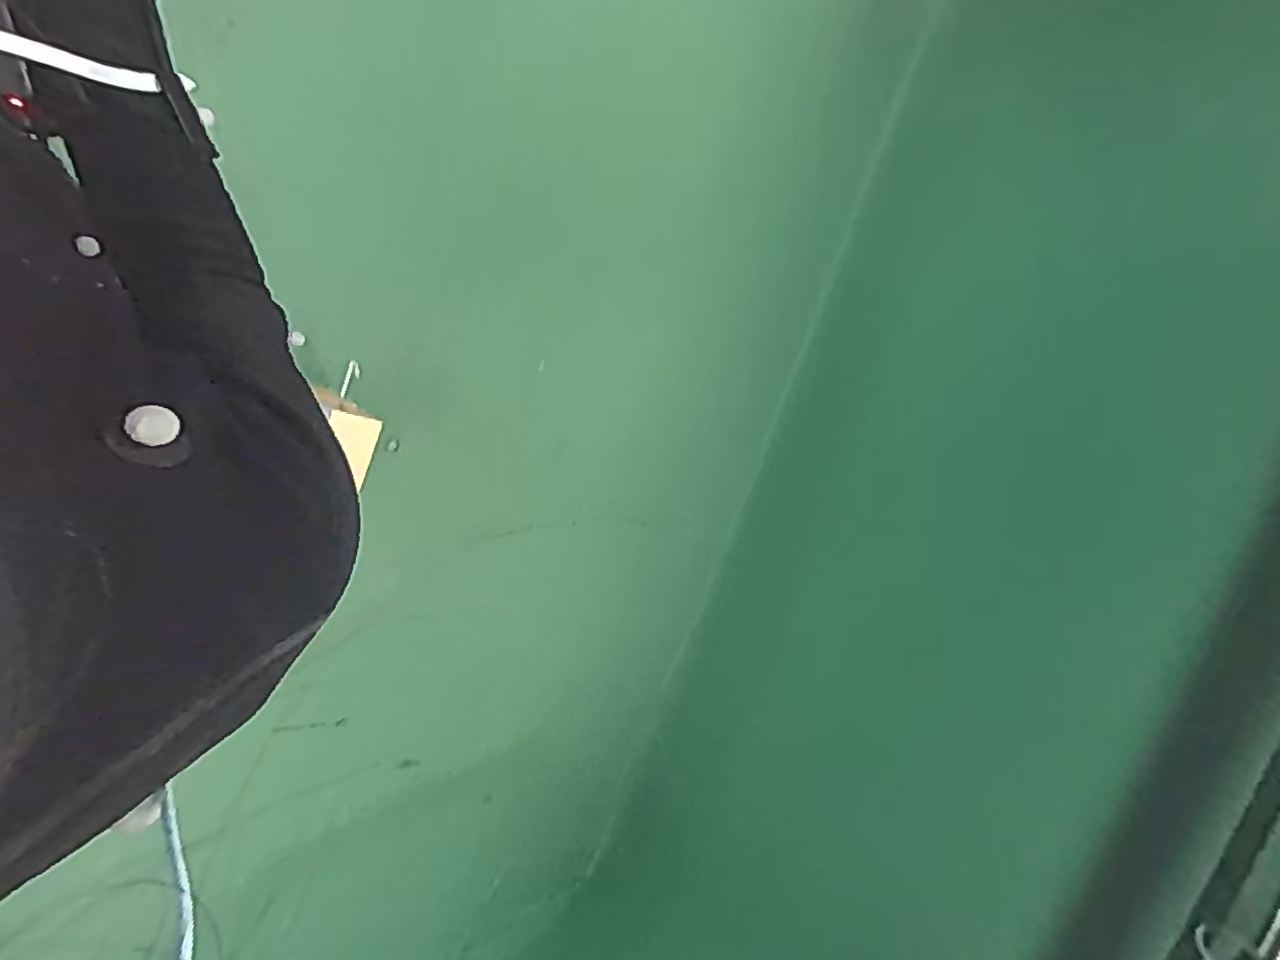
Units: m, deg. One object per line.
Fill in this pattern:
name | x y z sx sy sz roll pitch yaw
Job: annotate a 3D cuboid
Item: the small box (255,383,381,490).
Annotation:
small box | -0.707 -0.096 1.182 0.168 0.176 0.179 16 98 -53
